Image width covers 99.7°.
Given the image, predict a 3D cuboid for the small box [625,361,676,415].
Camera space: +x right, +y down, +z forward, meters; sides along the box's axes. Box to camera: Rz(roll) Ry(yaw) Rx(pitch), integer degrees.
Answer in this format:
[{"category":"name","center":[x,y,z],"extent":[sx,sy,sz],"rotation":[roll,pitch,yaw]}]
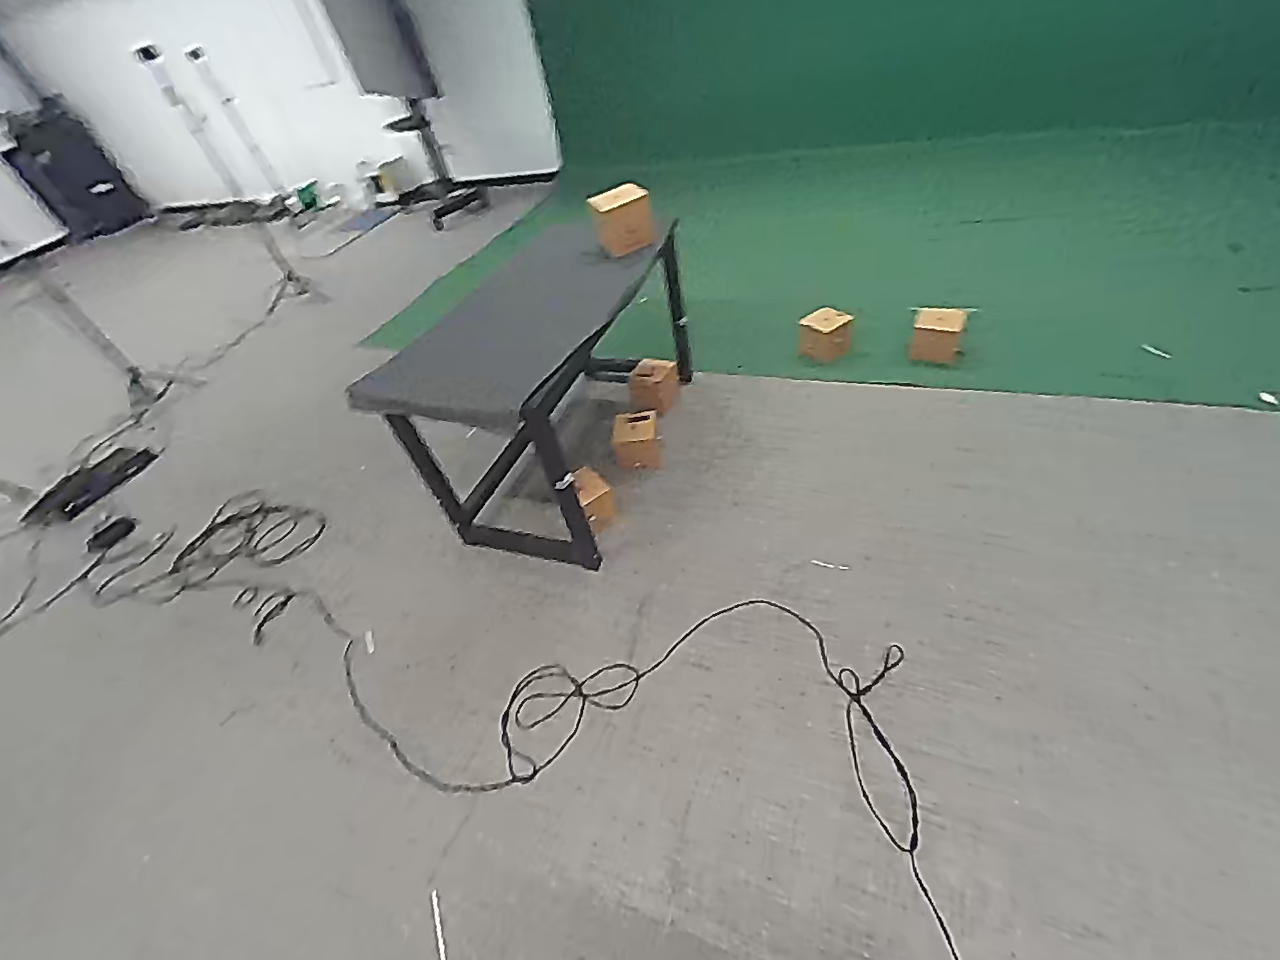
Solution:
[{"category":"small box","center":[0.055,-0.419,2.463],"extent":[0.168,0.176,0.179],"rotation":[13,49,24]}]

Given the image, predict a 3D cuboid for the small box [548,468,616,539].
[{"category":"small box","center":[-0.210,0.094,2.006],"extent":[0.168,0.176,0.179],"rotation":[-33,46,-19]}]

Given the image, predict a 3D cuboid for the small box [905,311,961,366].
[{"category":"small box","center":[1.279,-0.617,2.368],"extent":[0.179,0.176,0.168],"rotation":[16,52,26]}]

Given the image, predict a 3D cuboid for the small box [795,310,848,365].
[{"category":"small box","center":[0.846,-0.660,2.519],"extent":[0.179,0.176,0.168],"rotation":[-32,46,-18]}]

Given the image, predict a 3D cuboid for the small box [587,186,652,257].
[{"category":"small box","center":[-0.070,-0.927,1.950],"extent":[0.168,0.176,0.179],"rotation":[-25,45,-8]}]
